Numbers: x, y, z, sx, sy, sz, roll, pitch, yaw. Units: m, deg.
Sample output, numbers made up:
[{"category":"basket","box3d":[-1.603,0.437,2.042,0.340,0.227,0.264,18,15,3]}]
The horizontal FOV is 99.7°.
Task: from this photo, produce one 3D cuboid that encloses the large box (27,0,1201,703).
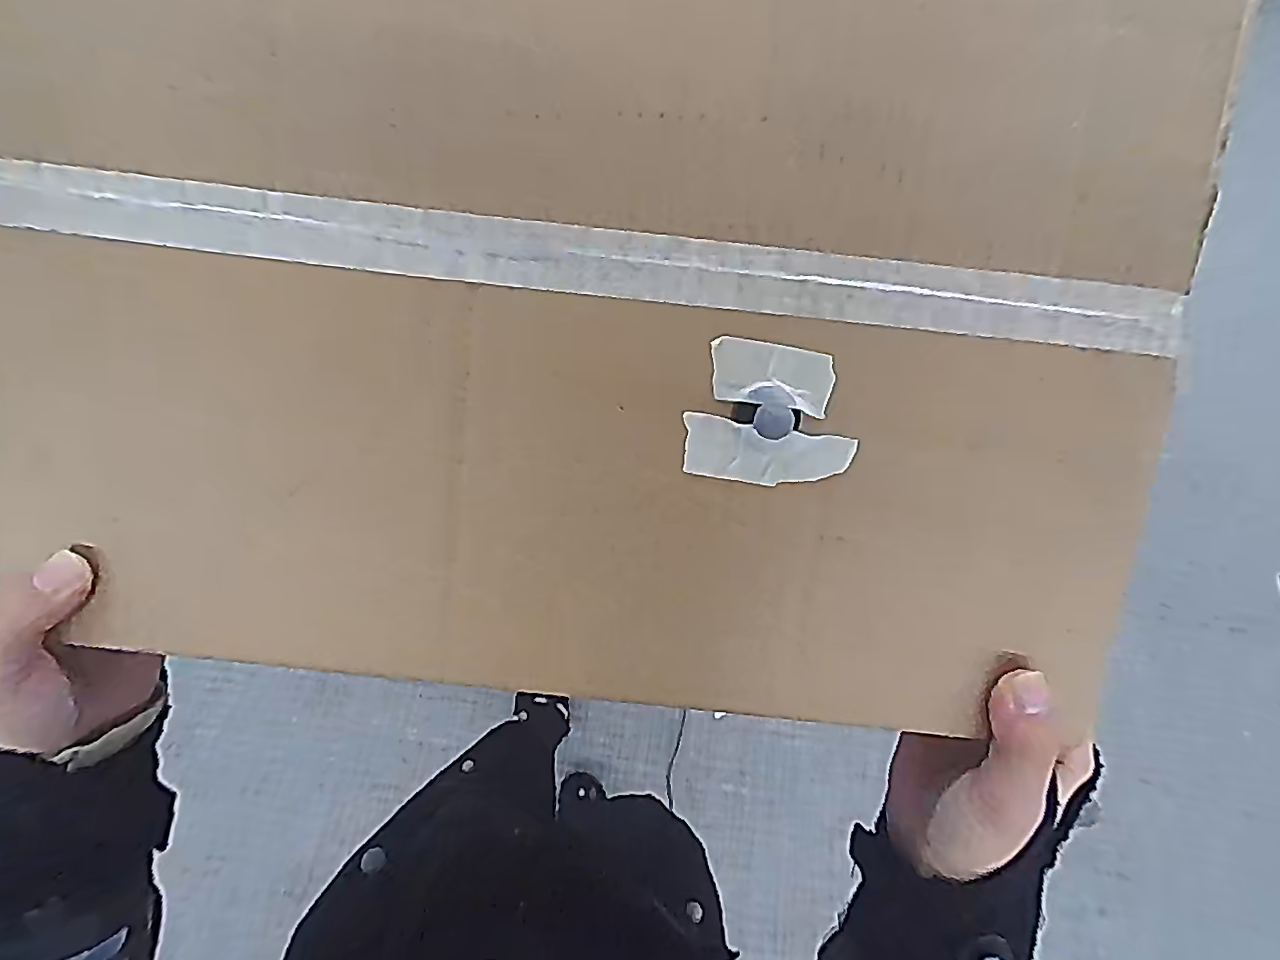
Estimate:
[{"category":"large box","box3d":[-0.018,-0.094,0.343,0.408,0.320,0.320,6,98,-2]}]
